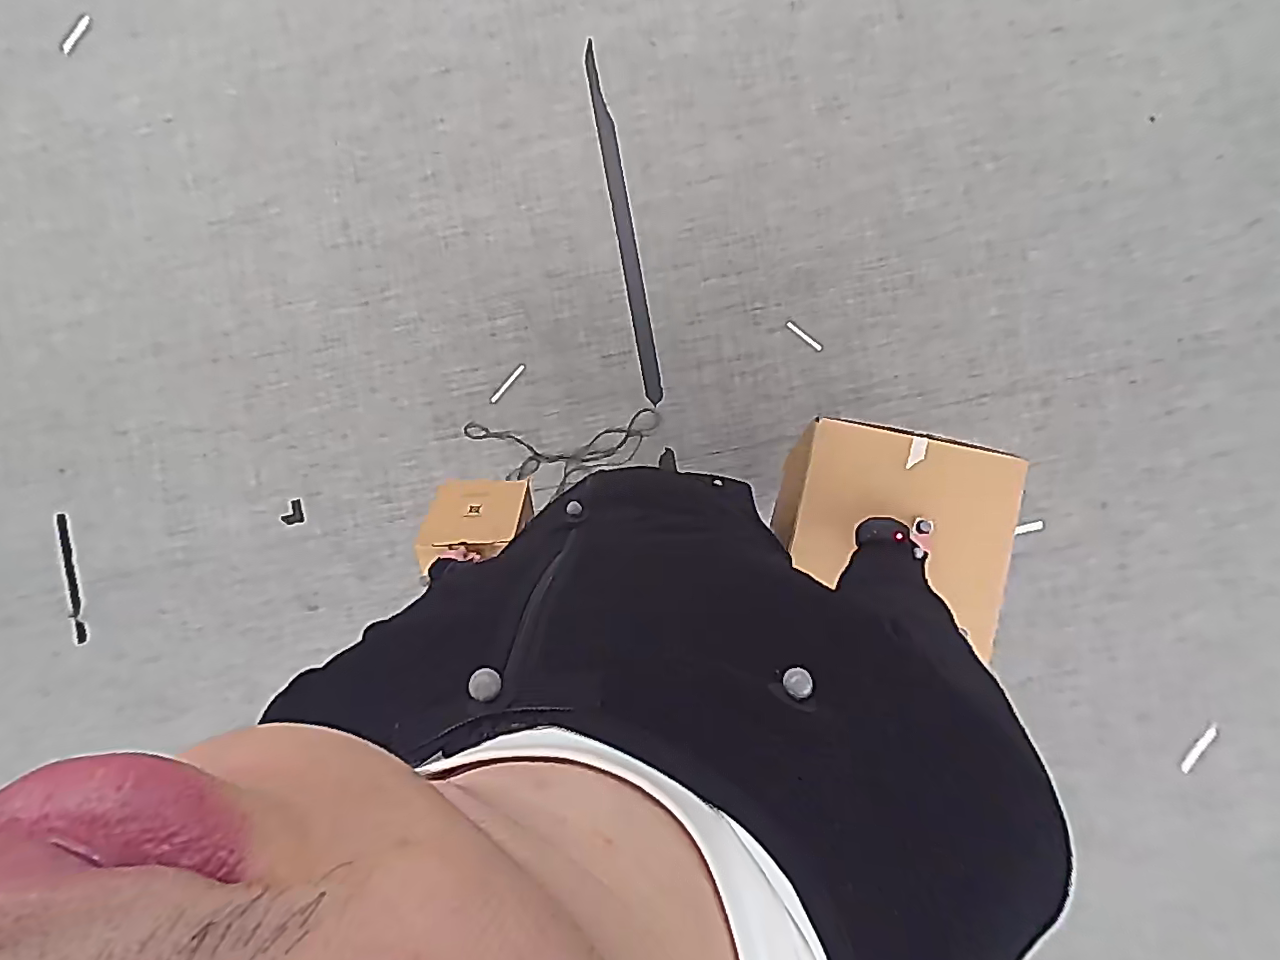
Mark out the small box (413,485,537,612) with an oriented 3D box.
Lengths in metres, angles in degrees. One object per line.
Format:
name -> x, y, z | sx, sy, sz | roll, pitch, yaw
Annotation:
small box -> -0.289, 0.128, 0.992 | 0.168, 0.179, 0.176 | -2, 124, -1
